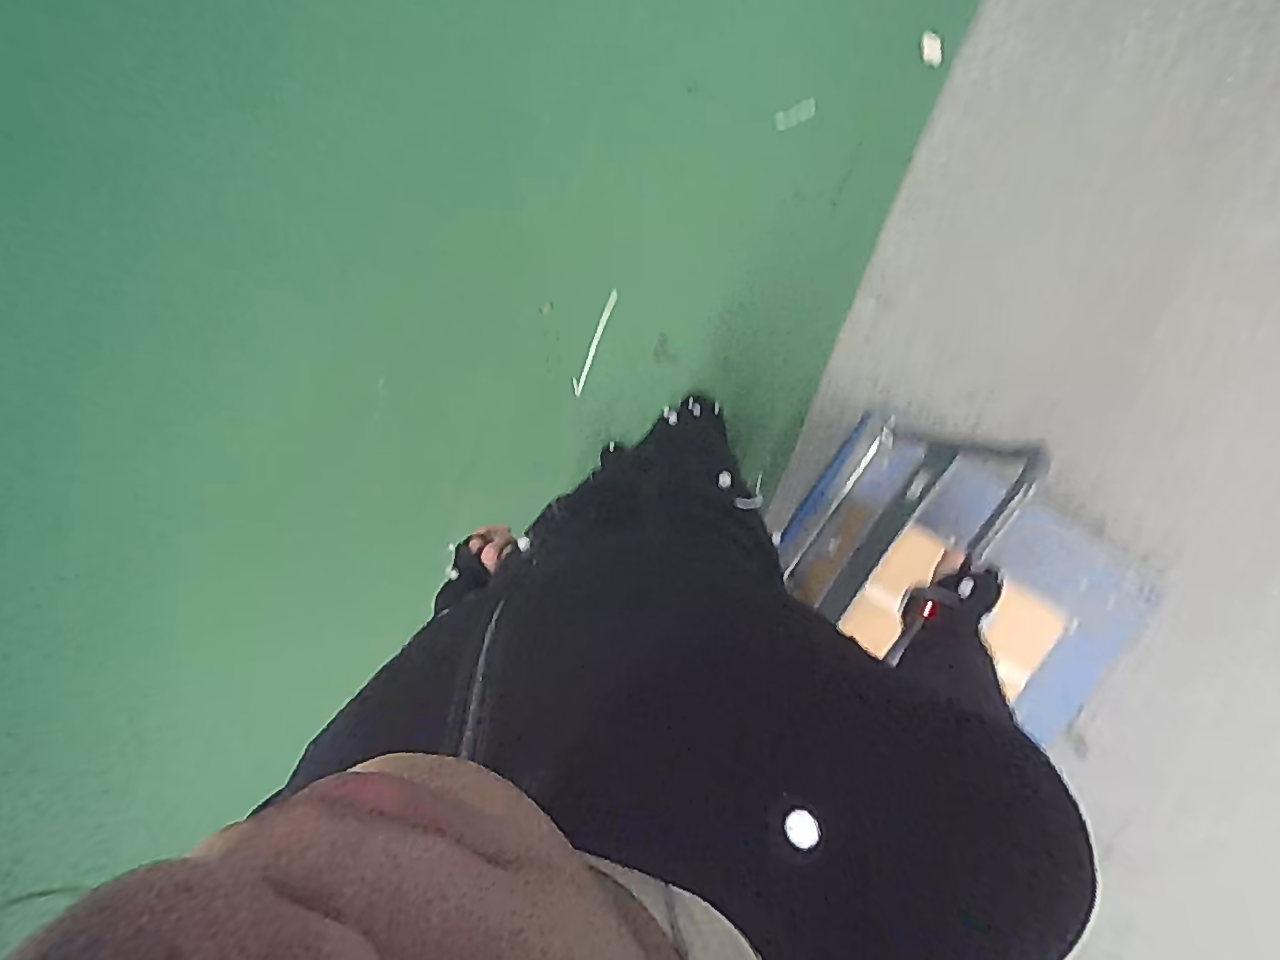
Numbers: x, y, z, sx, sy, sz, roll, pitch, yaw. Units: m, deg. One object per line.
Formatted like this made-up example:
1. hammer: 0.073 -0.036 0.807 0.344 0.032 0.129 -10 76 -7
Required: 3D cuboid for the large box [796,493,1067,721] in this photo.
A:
1. large box: 0.643 0.271 1.279 0.408 0.320 0.320 30 99 1
